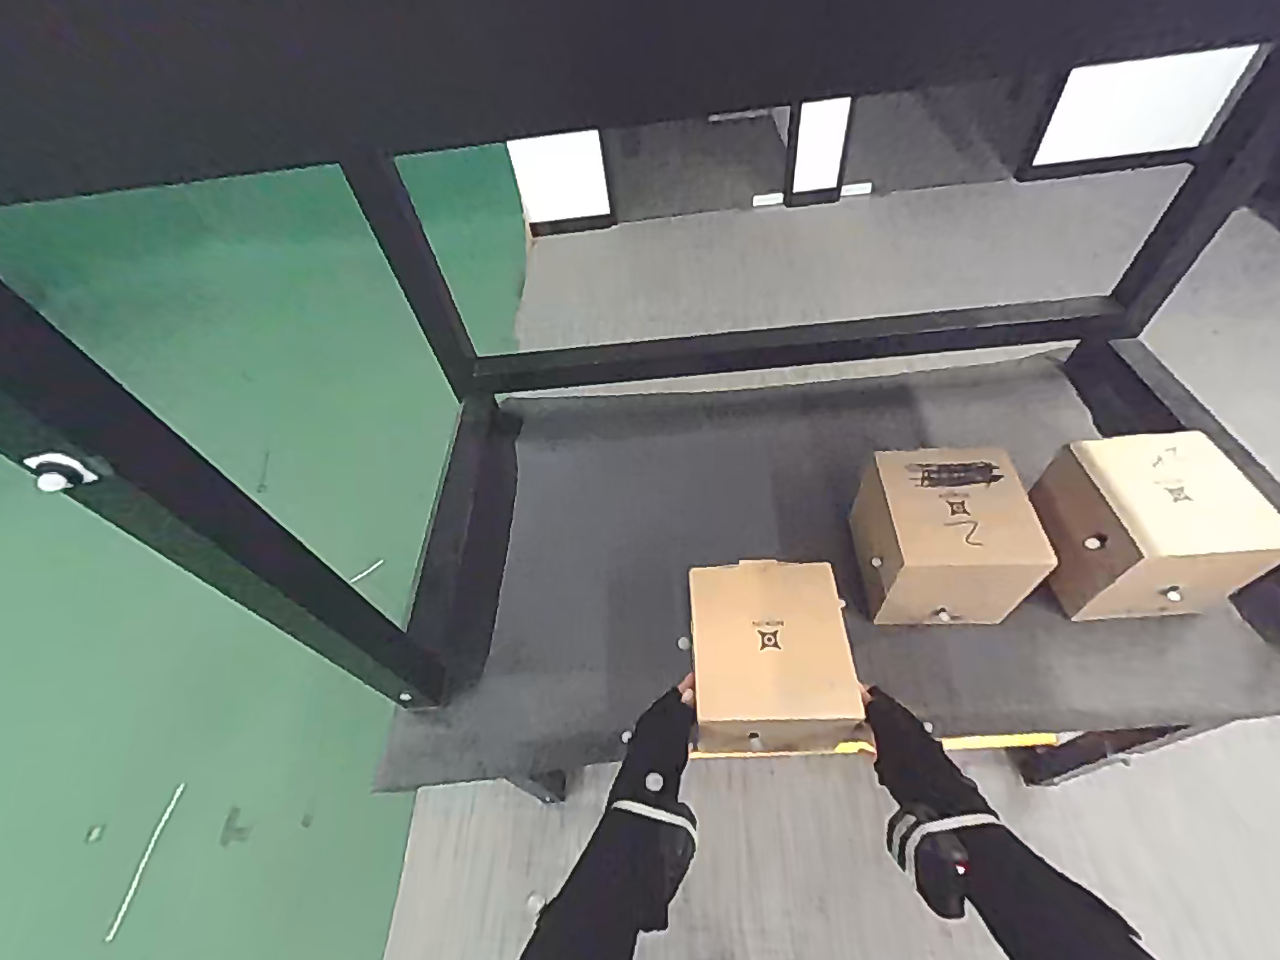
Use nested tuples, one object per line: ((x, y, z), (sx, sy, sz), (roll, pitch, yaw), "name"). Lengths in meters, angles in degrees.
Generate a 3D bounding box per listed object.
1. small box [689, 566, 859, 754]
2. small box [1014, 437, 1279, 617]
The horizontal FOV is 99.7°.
((0.148, 0.223, 0.653), (0.168, 0.176, 0.179), (-3, 51, 5), "small box")
((0.638, 0.069, 0.705), (0.168, 0.176, 0.179), (-5, 50, 4), "small box")
